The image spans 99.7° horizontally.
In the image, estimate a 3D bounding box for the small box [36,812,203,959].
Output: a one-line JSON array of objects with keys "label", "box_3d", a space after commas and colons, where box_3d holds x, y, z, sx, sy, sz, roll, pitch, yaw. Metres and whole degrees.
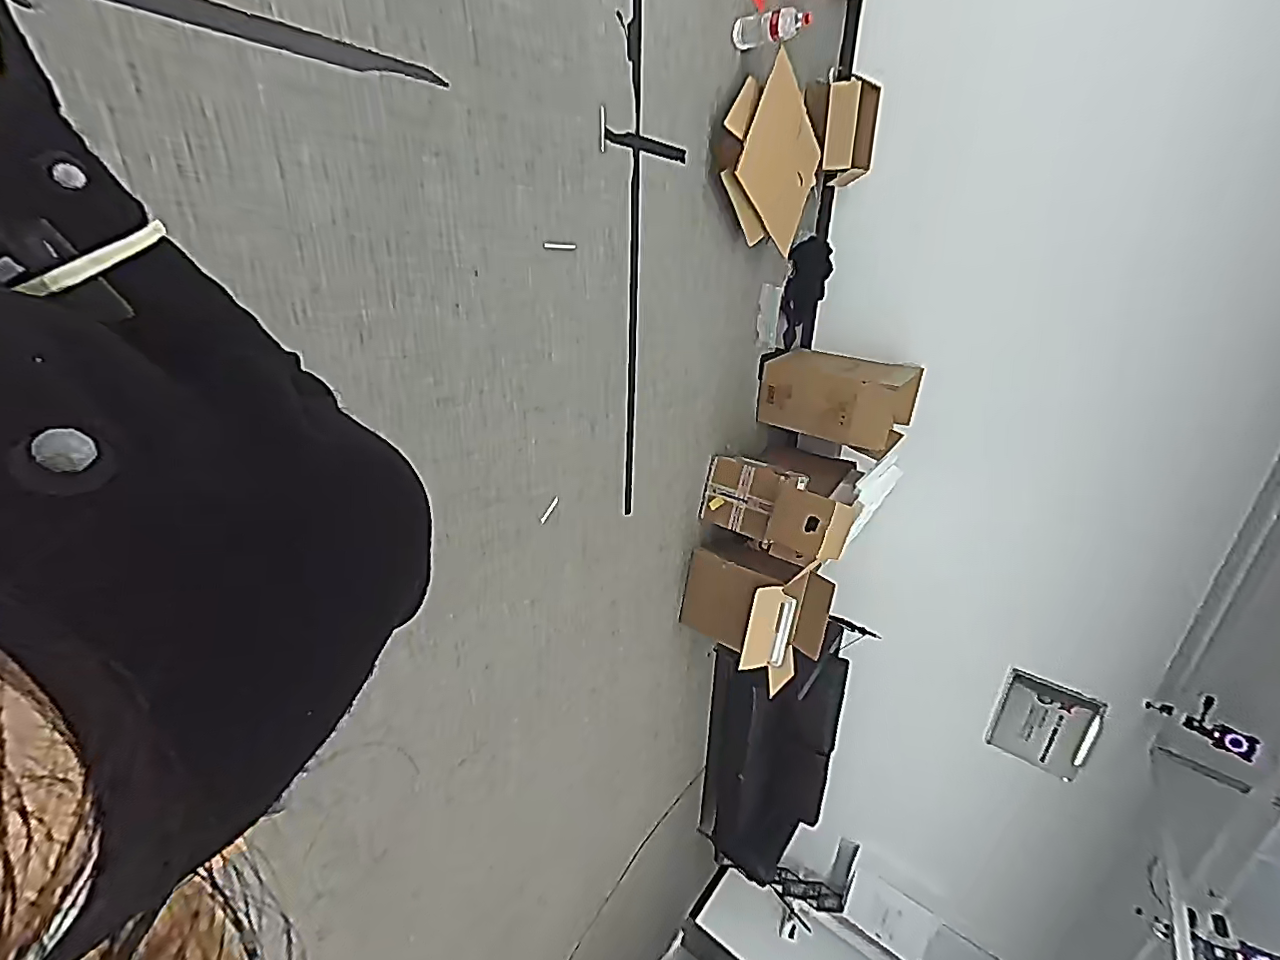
[{"label": "small box", "box_3d": [-0.976, 0.782, 1.019, 0.179, 0.176, 0.168, -25, 124, -46]}]

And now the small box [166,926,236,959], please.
[{"label": "small box", "box_3d": [-0.716, 0.868, 0.838, 0.179, 0.176, 0.168, -21, 122, -49]}]
